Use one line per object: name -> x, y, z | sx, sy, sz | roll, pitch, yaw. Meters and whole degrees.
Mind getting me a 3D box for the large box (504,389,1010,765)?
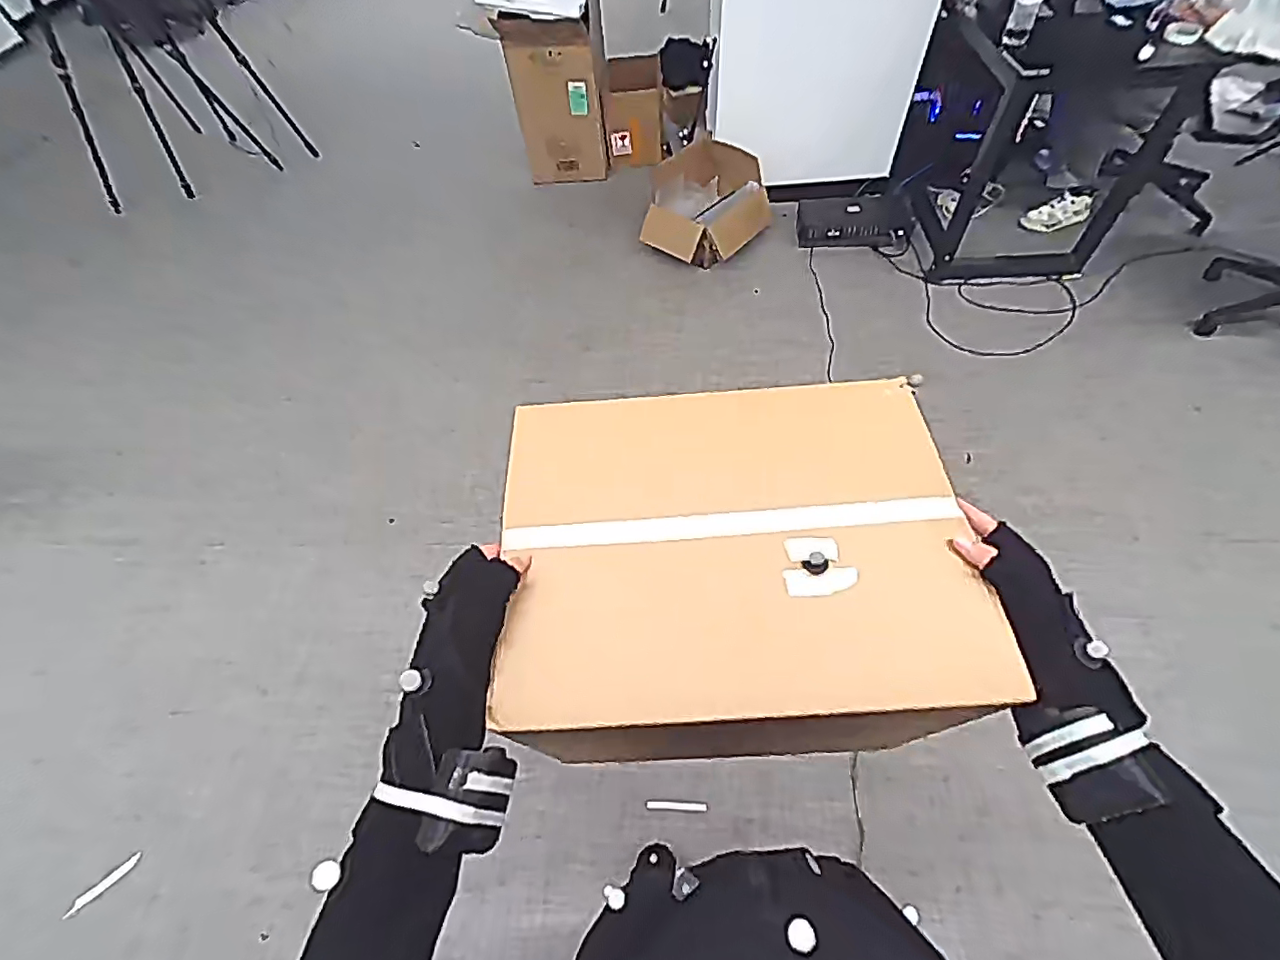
large box -> 0.088, 0.127, 0.622 | 0.408, 0.320, 0.320 | -4, 58, 2
